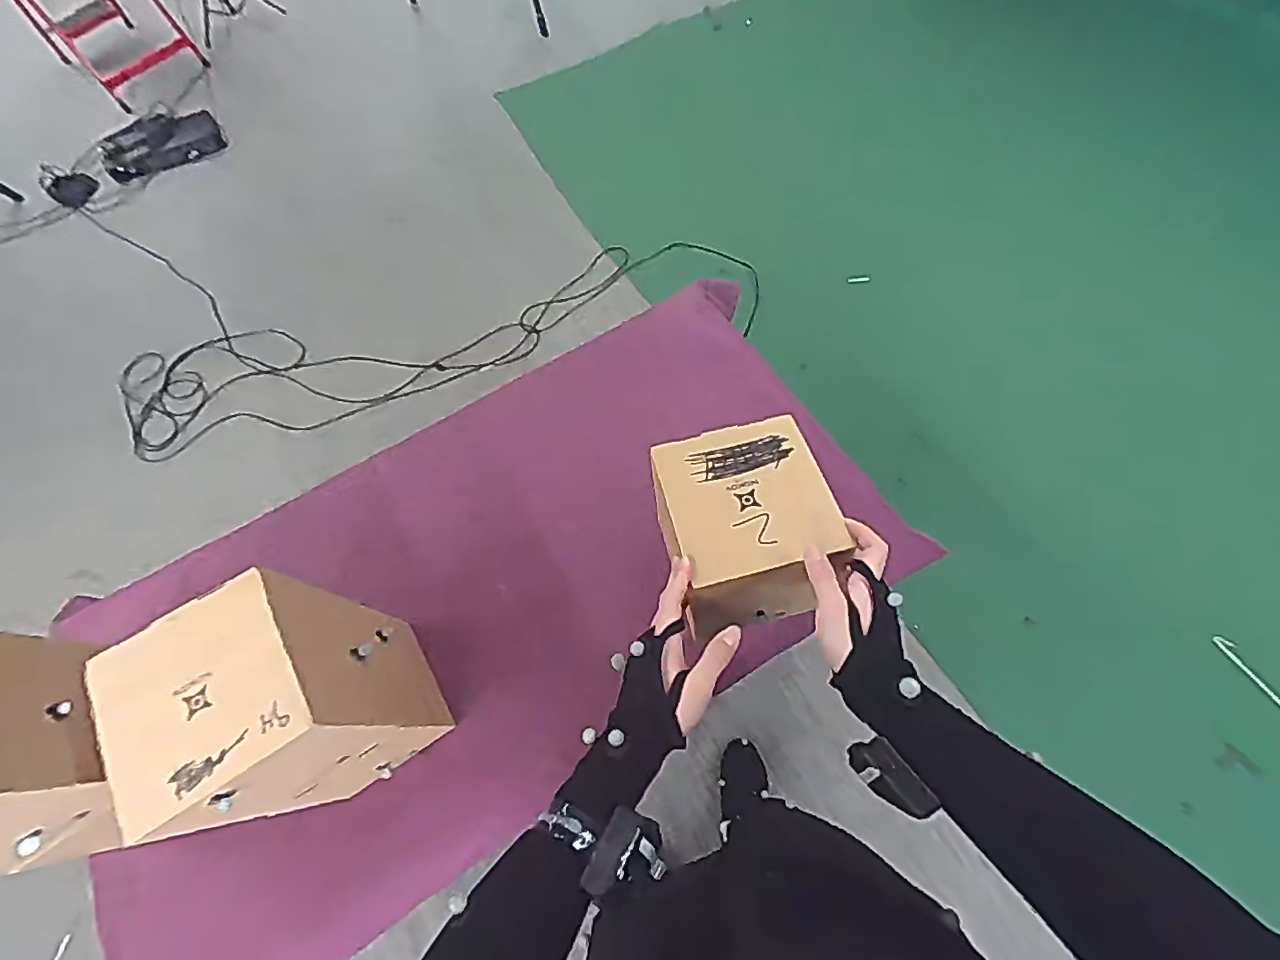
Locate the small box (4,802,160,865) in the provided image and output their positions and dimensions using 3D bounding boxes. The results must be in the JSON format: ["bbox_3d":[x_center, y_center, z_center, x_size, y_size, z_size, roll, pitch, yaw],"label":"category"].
[{"bbox_3d":[-0.656,0.343,0.699,0.168,0.176,0.179,-33,70,-10],"label":"small box"}]

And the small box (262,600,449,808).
[{"bbox_3d":[-0.381,0.287,0.706,0.168,0.176,0.179,-32,69,-10],"label":"small box"}]

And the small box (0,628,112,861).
[{"bbox_3d":[-0.665,0.276,0.549,0.168,0.176,0.179,-33,70,-10],"label":"small box"}]

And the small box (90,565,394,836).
[{"bbox_3d":[-0.391,0.220,0.556,0.168,0.176,0.179,-32,68,-10],"label":"small box"}]
